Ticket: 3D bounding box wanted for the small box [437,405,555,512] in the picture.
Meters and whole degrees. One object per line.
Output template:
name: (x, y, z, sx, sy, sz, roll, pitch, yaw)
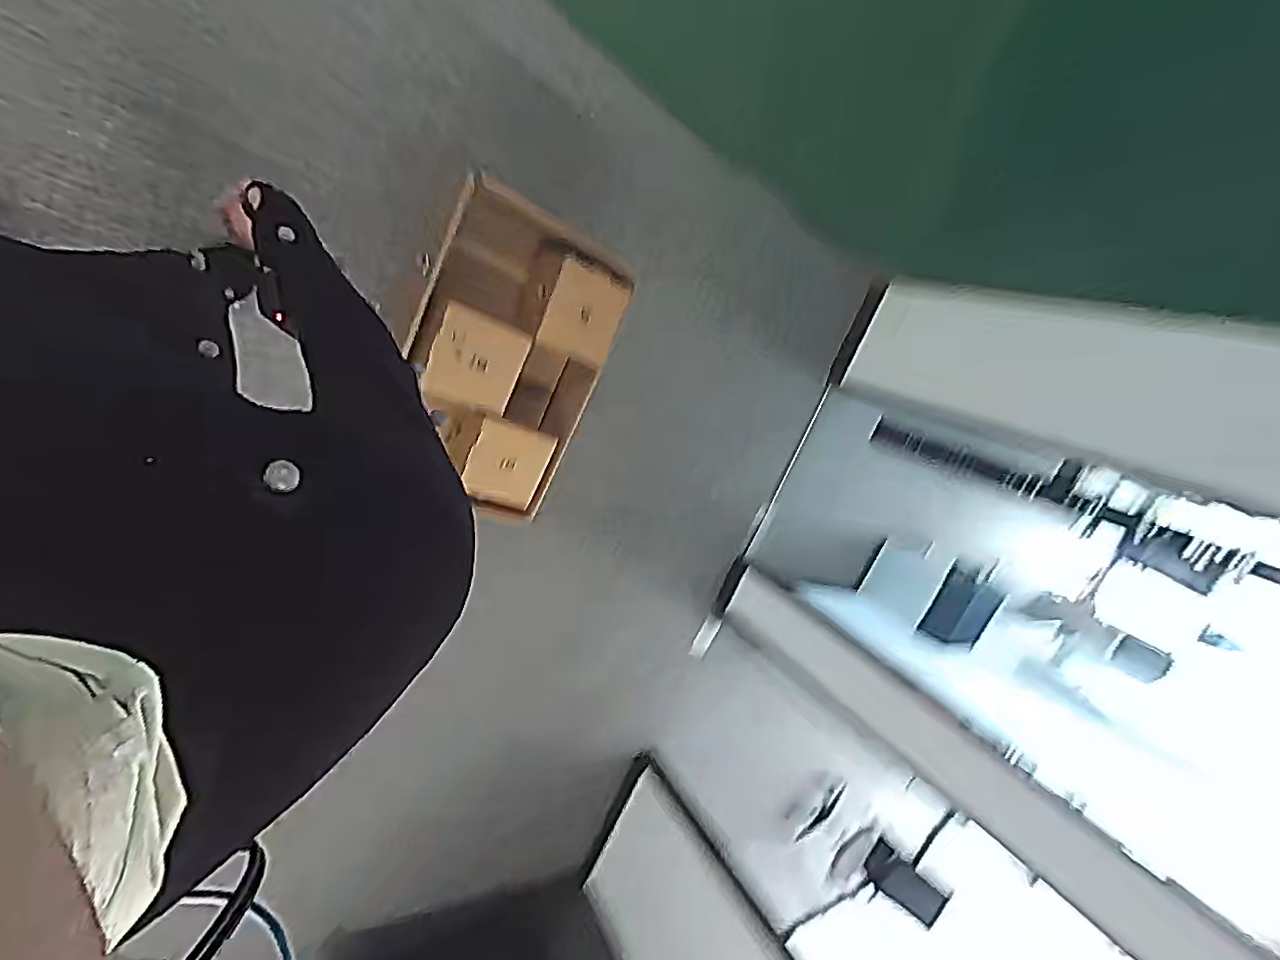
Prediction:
small box: (-0.327, -0.051, 1.211, 0.179, 0.176, 0.168, 20, 101, -39)
